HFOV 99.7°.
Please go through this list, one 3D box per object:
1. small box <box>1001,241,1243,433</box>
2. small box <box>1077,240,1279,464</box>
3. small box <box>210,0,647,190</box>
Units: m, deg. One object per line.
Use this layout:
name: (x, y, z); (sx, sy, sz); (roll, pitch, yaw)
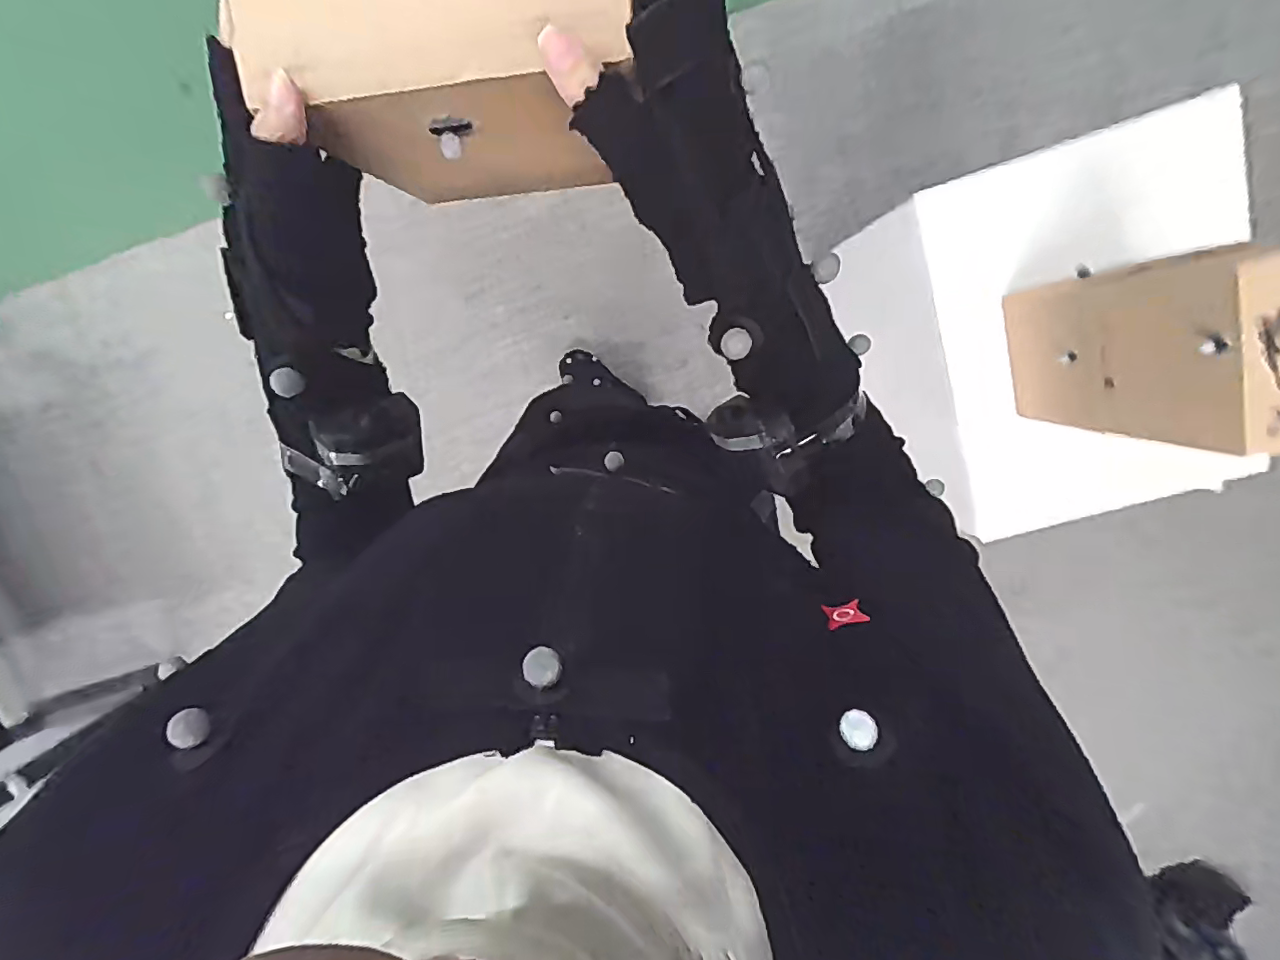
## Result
small box: (0.585, -0.171, 0.675); (0.168, 0.176, 0.179); (-14, 103, 8)
small box: (0.577, -0.131, 0.520); (0.179, 0.176, 0.168); (-16, 102, 8)
small box: (-0.096, -0.273, 0.291); (0.179, 0.176, 0.168); (-3, 104, 7)
